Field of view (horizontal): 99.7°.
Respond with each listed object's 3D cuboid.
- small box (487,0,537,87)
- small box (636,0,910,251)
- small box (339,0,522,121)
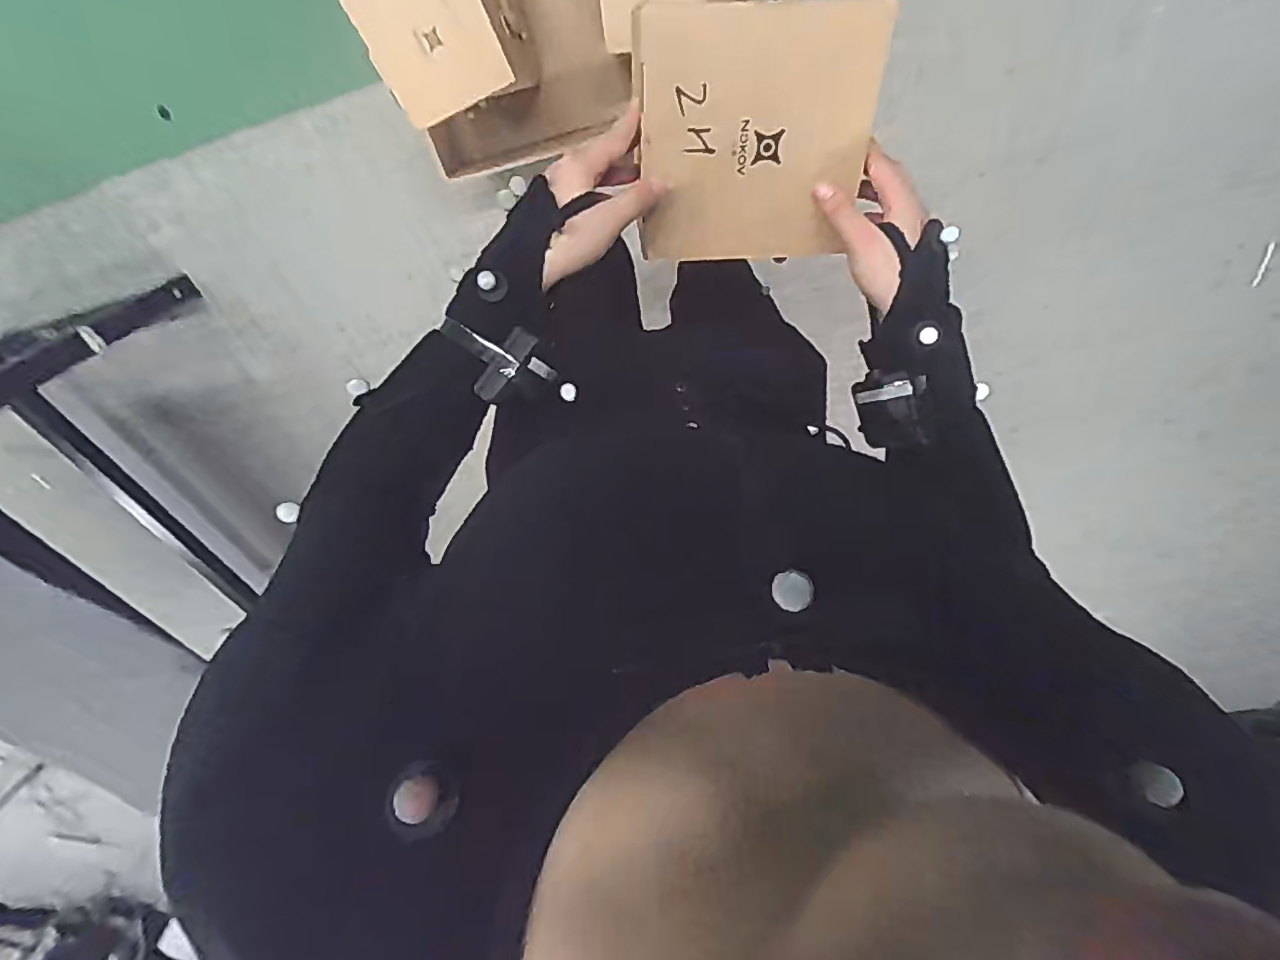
[{"bbox_3d":[-0.289,-0.762,0.910,0.179,0.176,0.168,-10,130,7],"label":"small box"},{"bbox_3d":[0.089,-0.309,0.465,0.179,0.176,0.168,-3,130,-2],"label":"small box"},{"bbox_3d":[-0.290,-0.656,0.785,0.179,0.176,0.168,-19,129,11],"label":"small box"}]
